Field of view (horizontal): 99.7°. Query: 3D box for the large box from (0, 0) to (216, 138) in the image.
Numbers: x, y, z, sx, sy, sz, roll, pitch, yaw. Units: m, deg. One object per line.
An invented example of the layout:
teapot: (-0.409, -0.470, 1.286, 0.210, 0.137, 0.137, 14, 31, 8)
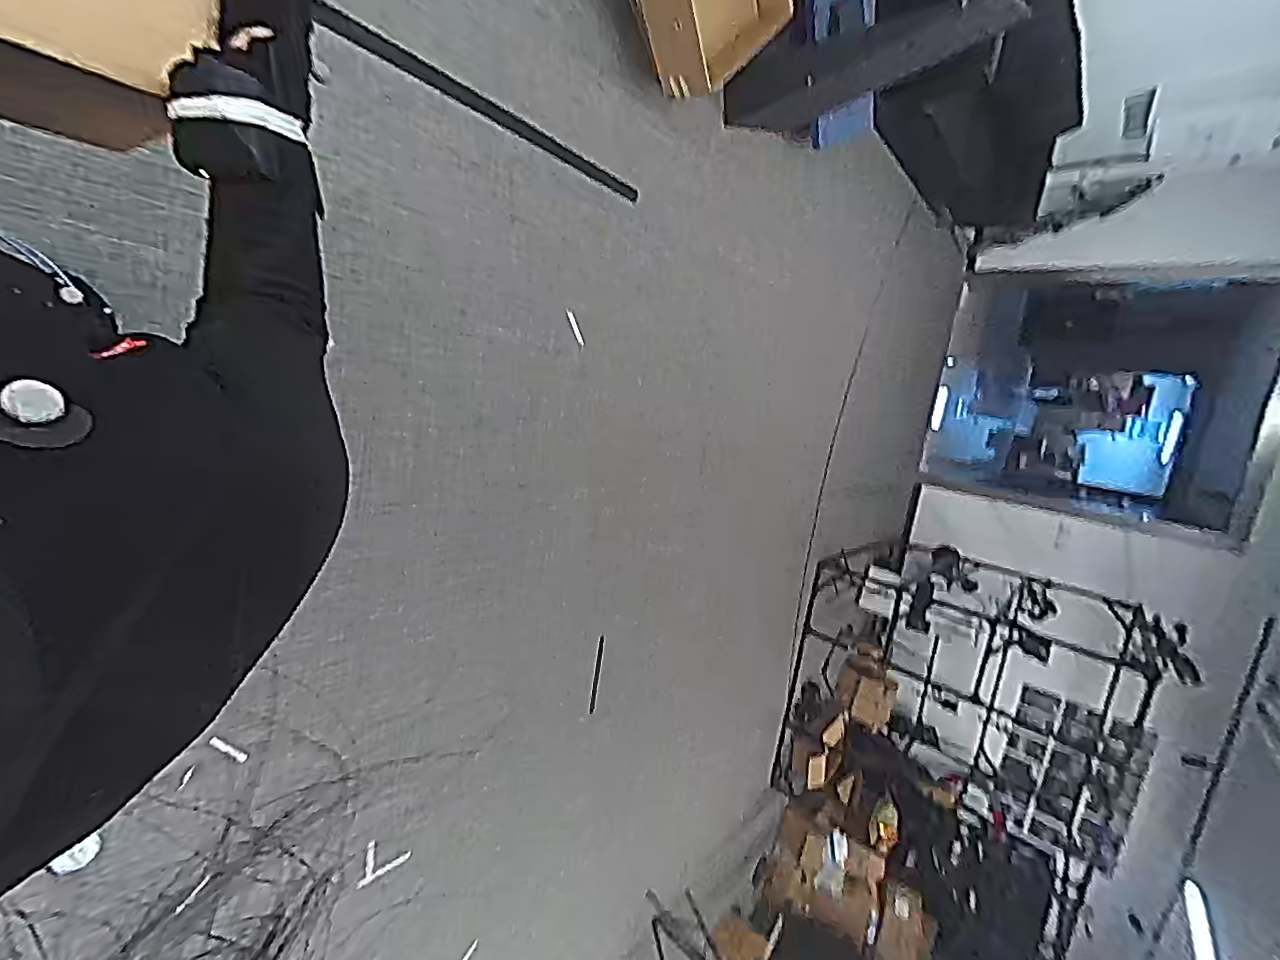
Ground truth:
large box: (-0.527, -0.441, 0.290, 0.408, 0.320, 0.320, -8, 113, -53)
